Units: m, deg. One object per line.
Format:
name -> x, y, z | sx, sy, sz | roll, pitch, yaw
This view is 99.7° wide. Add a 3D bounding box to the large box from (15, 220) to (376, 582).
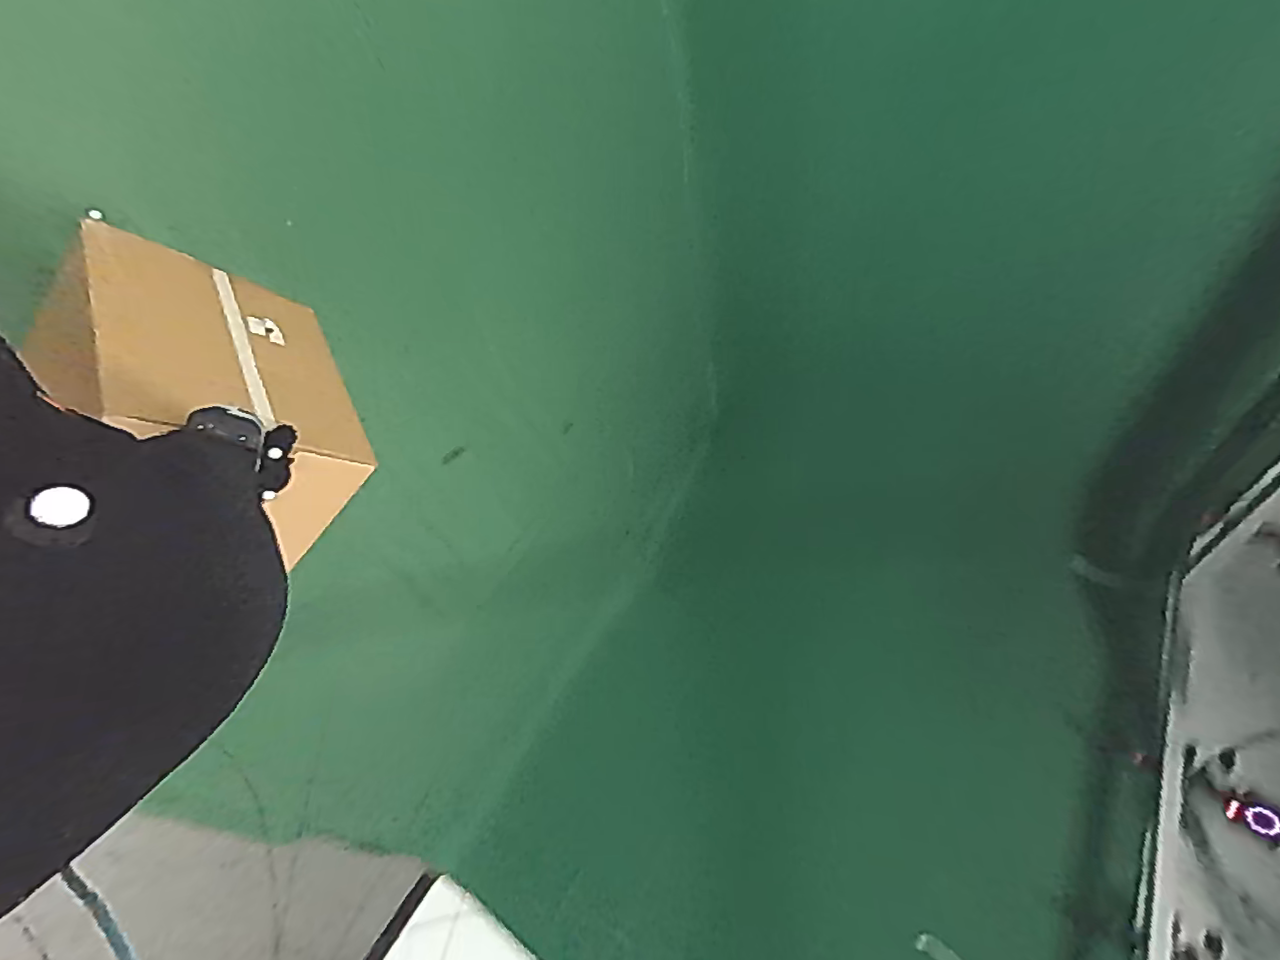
large box -> -0.690, -0.096, 0.836 | 0.320, 0.408, 0.320 | -44, 153, 16
